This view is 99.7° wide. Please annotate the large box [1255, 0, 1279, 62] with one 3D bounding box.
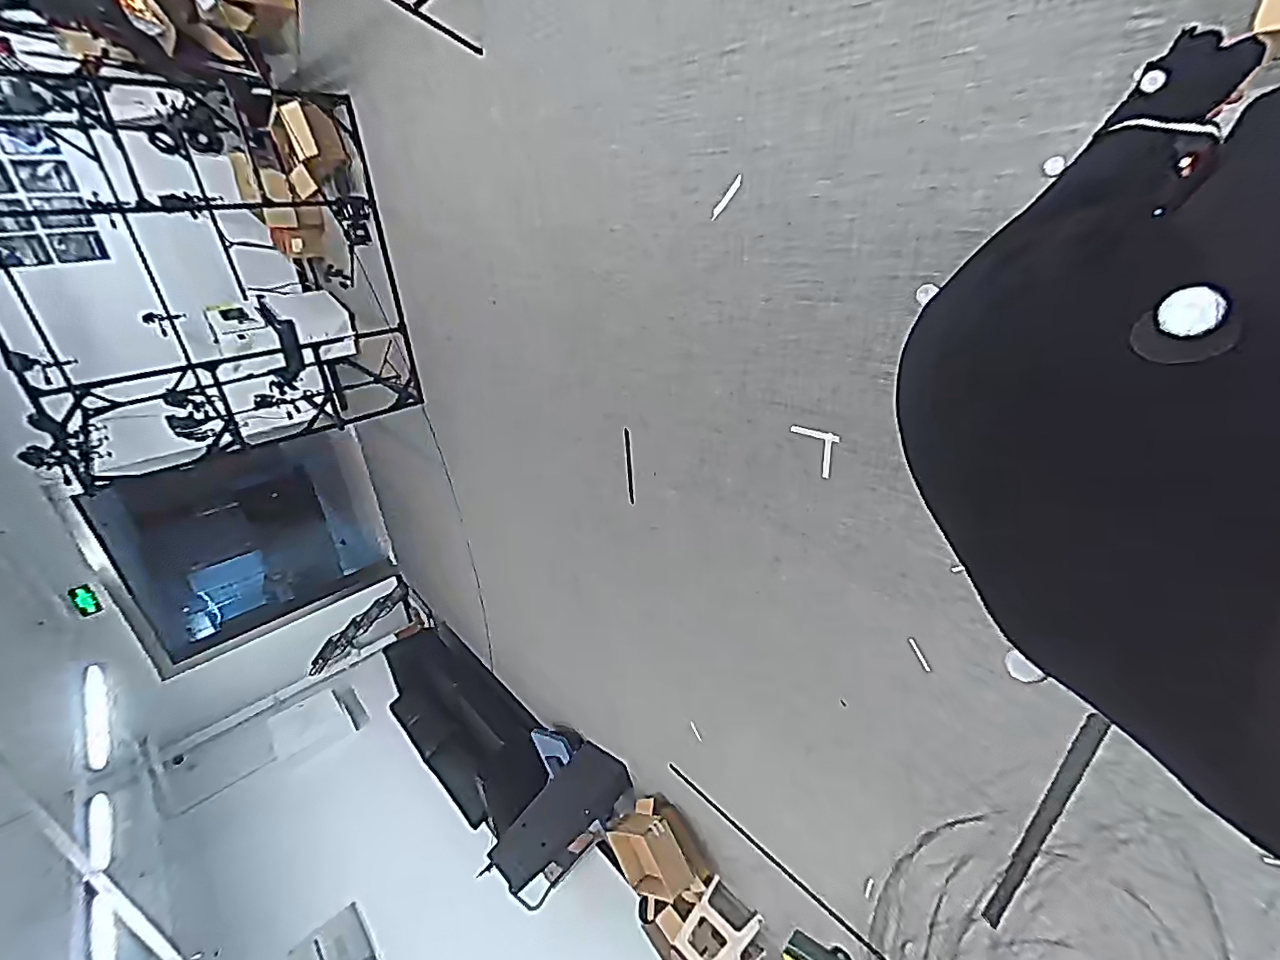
[{"bbox_3d":[1.034,-0.720,0.602,0.408,0.320,0.320,22,127,42],"label":"large box"}]
